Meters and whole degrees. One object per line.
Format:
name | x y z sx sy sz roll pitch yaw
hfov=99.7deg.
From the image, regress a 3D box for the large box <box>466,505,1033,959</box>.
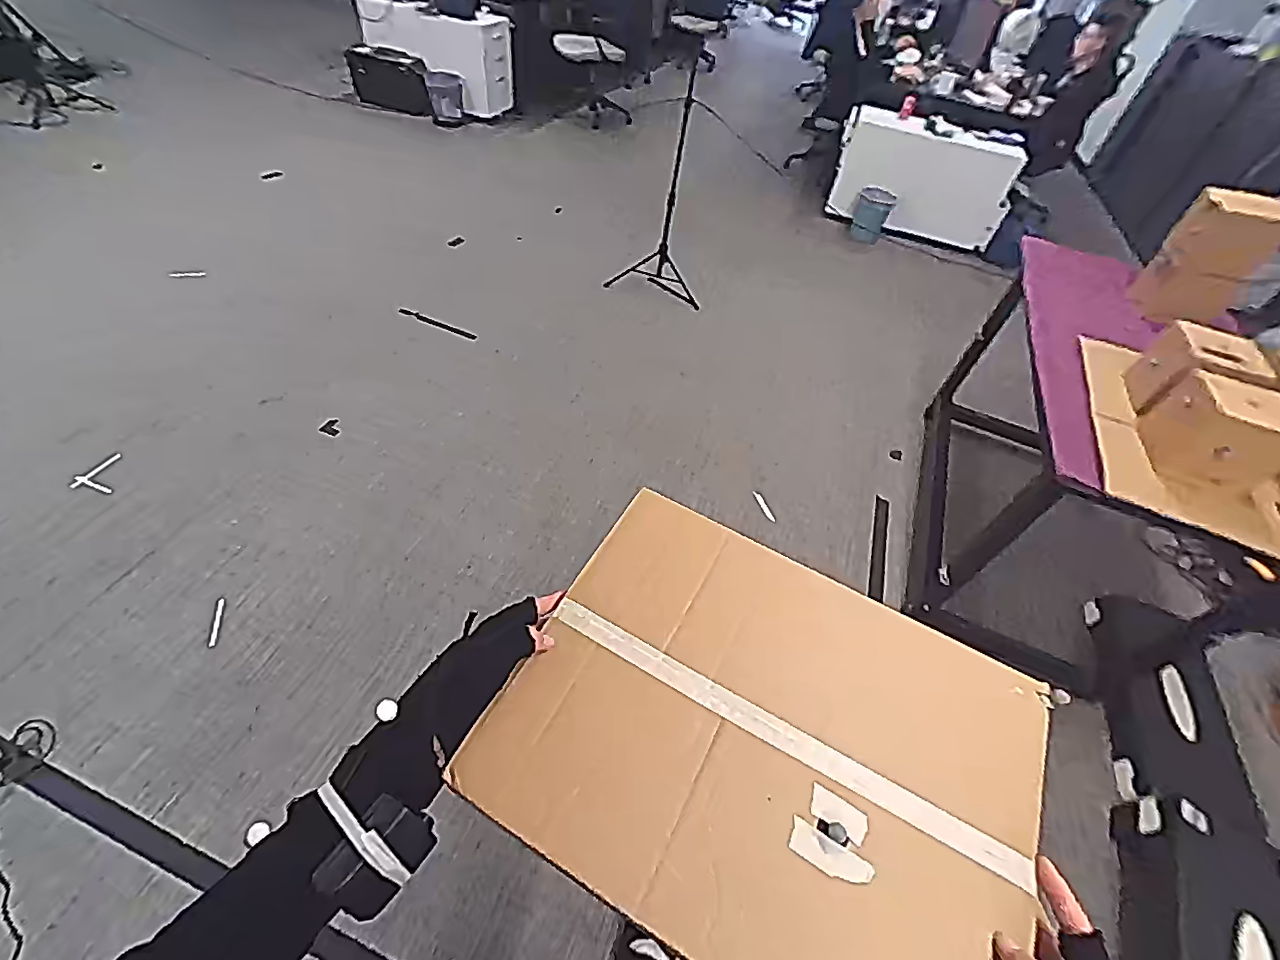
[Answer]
large box | 0.096 0.297 0.566 0.408 0.320 0.320 26 56 14
